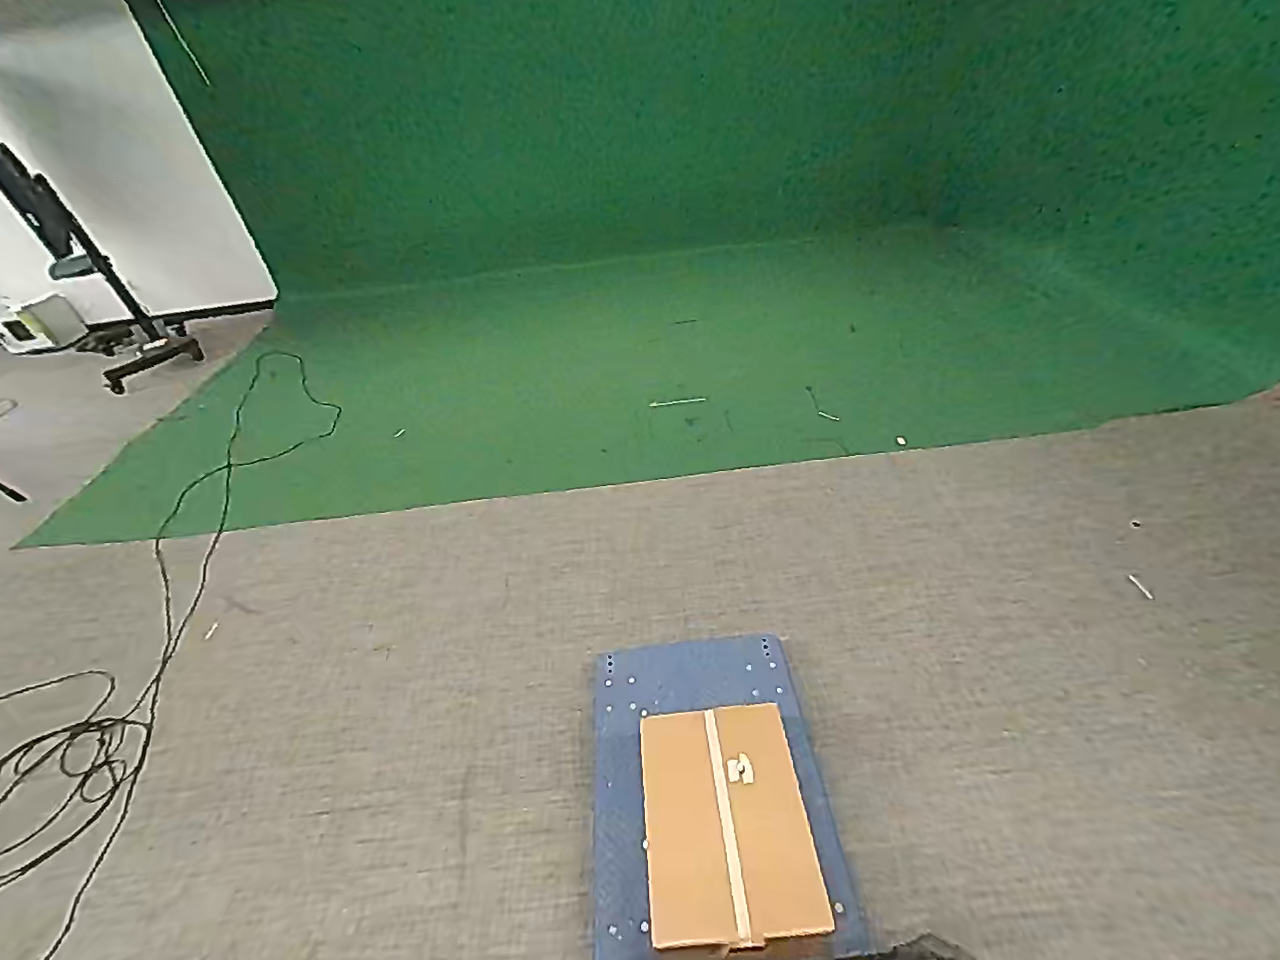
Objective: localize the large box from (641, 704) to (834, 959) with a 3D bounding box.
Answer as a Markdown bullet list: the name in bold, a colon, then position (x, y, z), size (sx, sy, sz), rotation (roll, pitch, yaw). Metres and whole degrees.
- **large box**: position (0.182, 0.761, 1.159), size (0.320, 0.320, 0.408), rotation (-6, 39, 1)
